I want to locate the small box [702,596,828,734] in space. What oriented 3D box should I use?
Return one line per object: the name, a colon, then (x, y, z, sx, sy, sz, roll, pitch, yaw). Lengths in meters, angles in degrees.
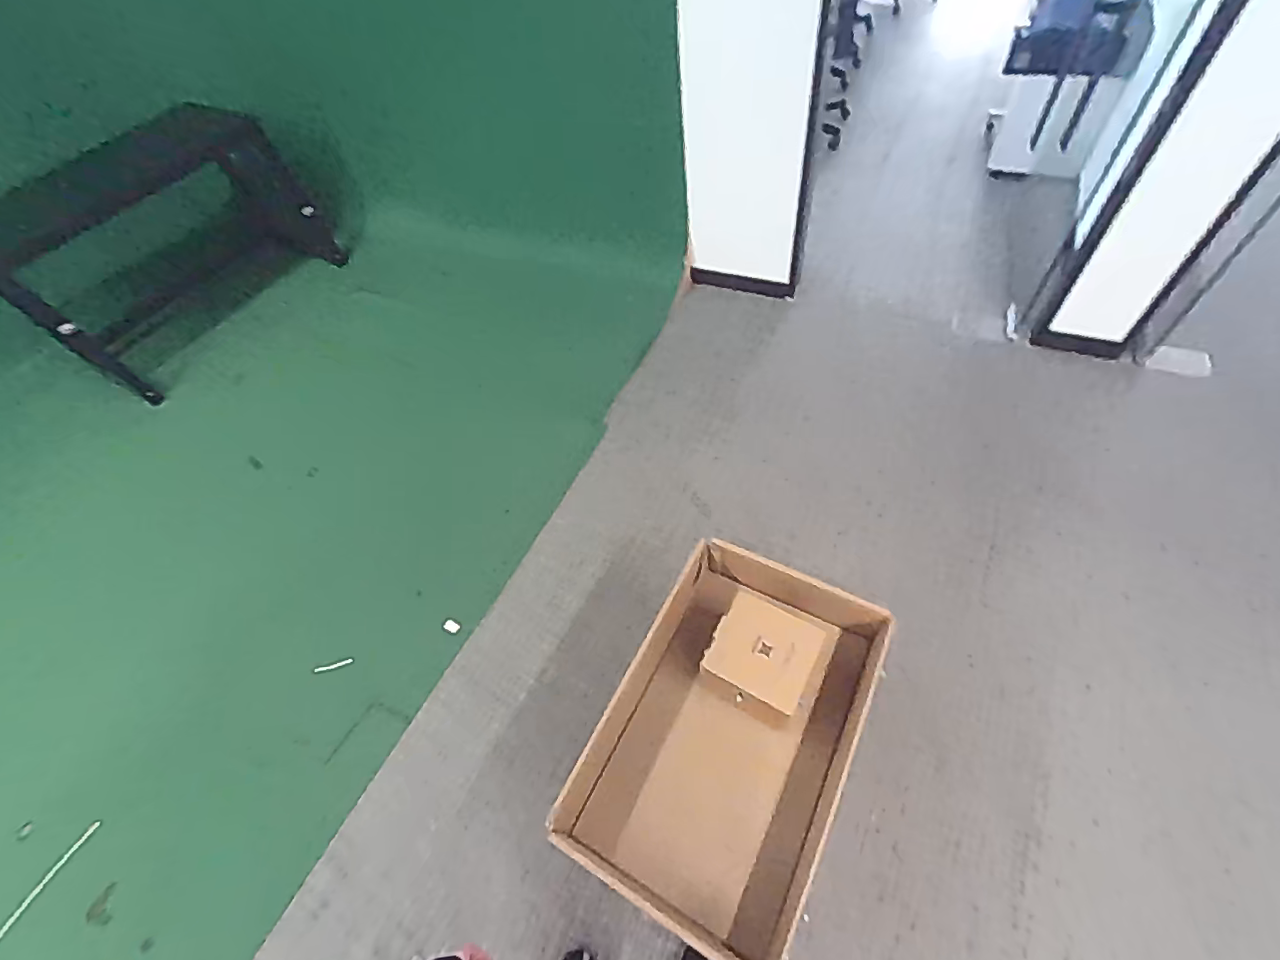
small box: (0.231, 0.359, 1.032, 0.179, 0.176, 0.168, 25, 62, 21)
